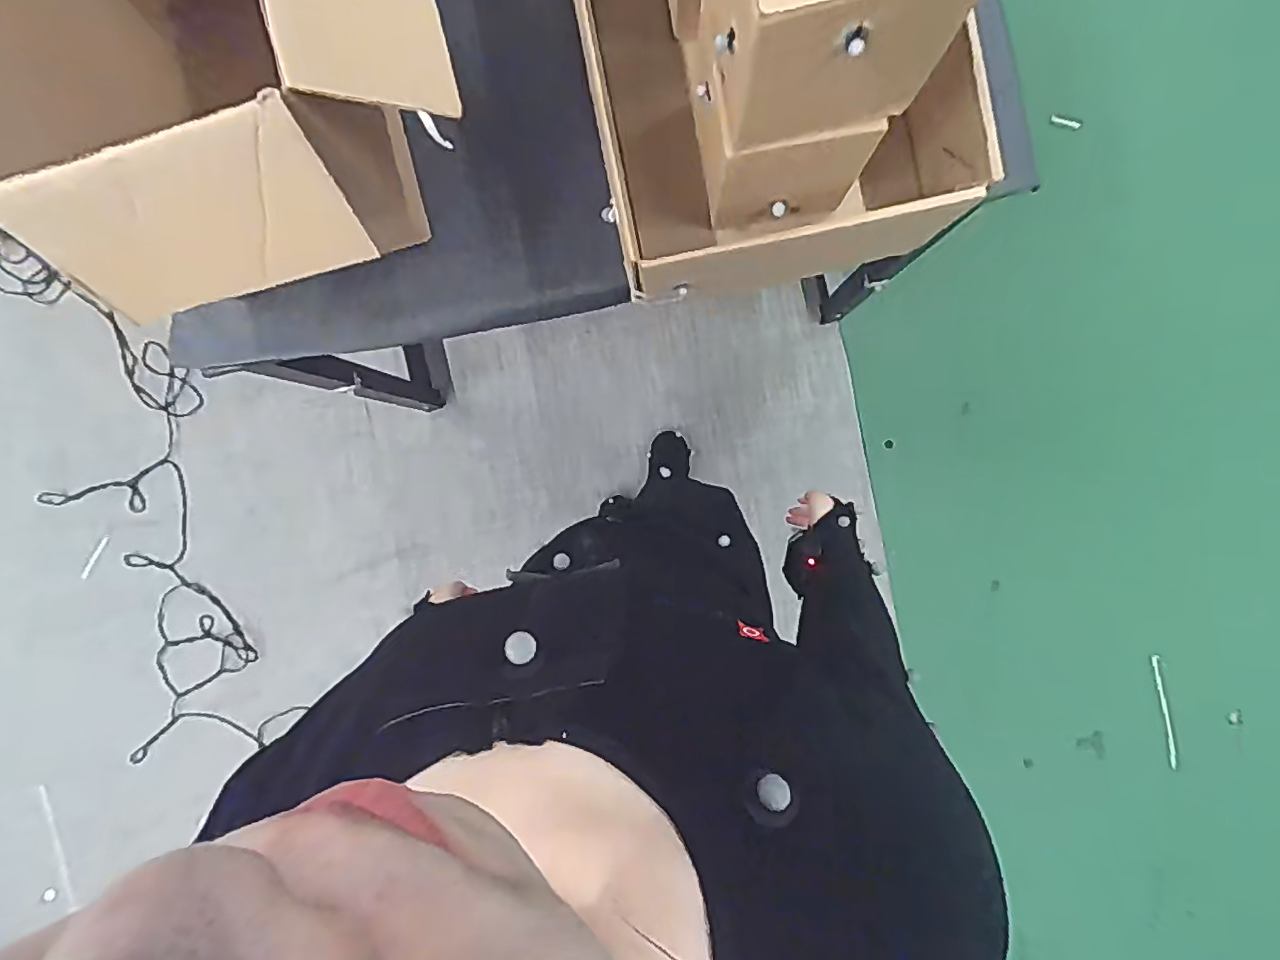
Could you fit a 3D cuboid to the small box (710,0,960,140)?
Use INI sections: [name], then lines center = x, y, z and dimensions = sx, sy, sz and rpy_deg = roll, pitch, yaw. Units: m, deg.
[small box]
center = 0.158, -0.428, 0.460
dimensions = 0.179, 0.176, 0.168
rpy_deg = -11, 92, 3
